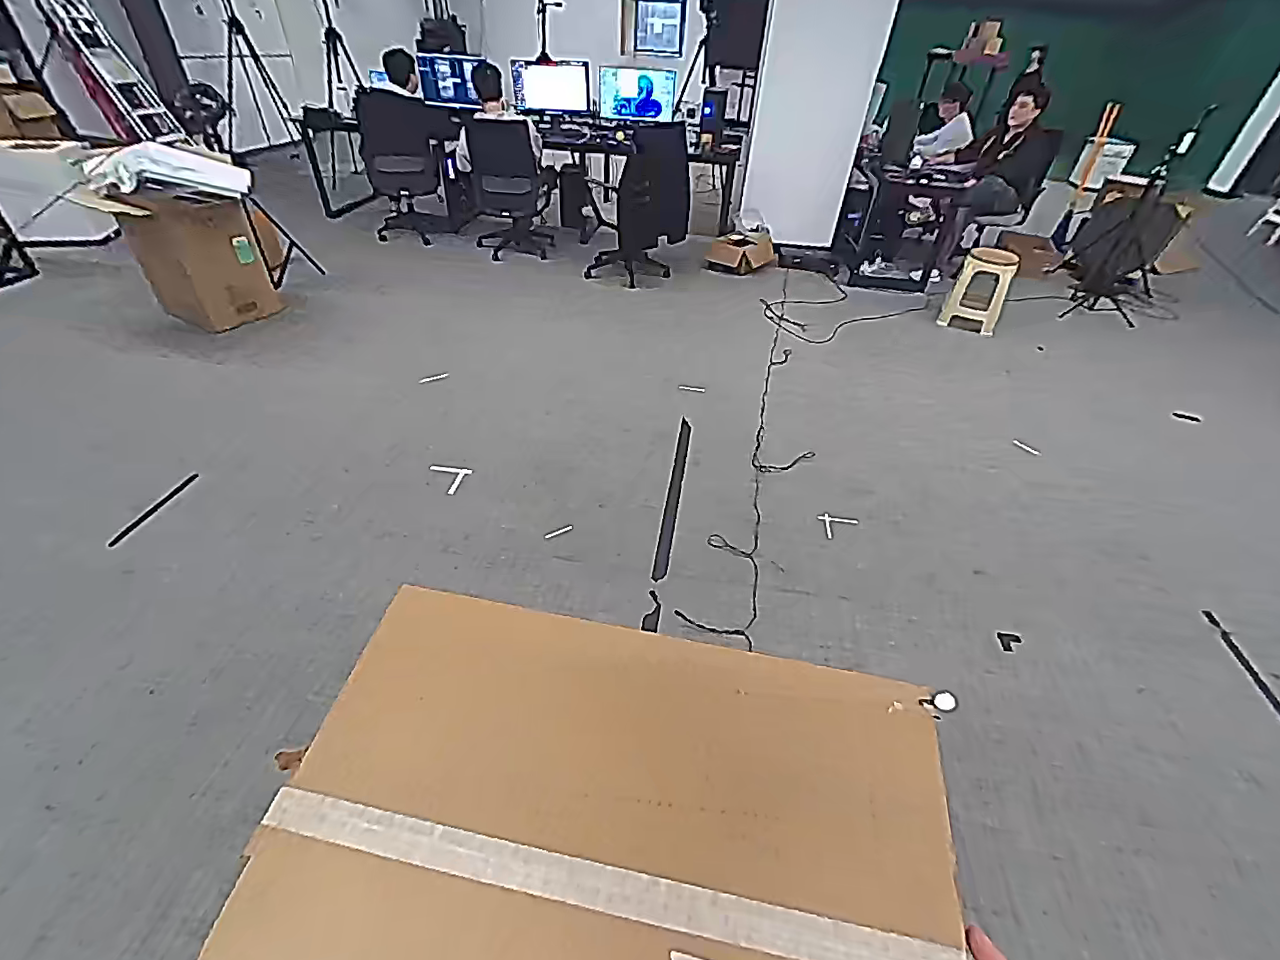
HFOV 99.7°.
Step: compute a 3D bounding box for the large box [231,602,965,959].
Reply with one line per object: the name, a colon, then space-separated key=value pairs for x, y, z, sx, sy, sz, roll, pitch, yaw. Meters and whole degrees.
large box: x=-0.019 y=0.335 z=0.431 sx=0.408 sy=0.320 sz=0.320 roll=9 pitch=51 yaw=6
